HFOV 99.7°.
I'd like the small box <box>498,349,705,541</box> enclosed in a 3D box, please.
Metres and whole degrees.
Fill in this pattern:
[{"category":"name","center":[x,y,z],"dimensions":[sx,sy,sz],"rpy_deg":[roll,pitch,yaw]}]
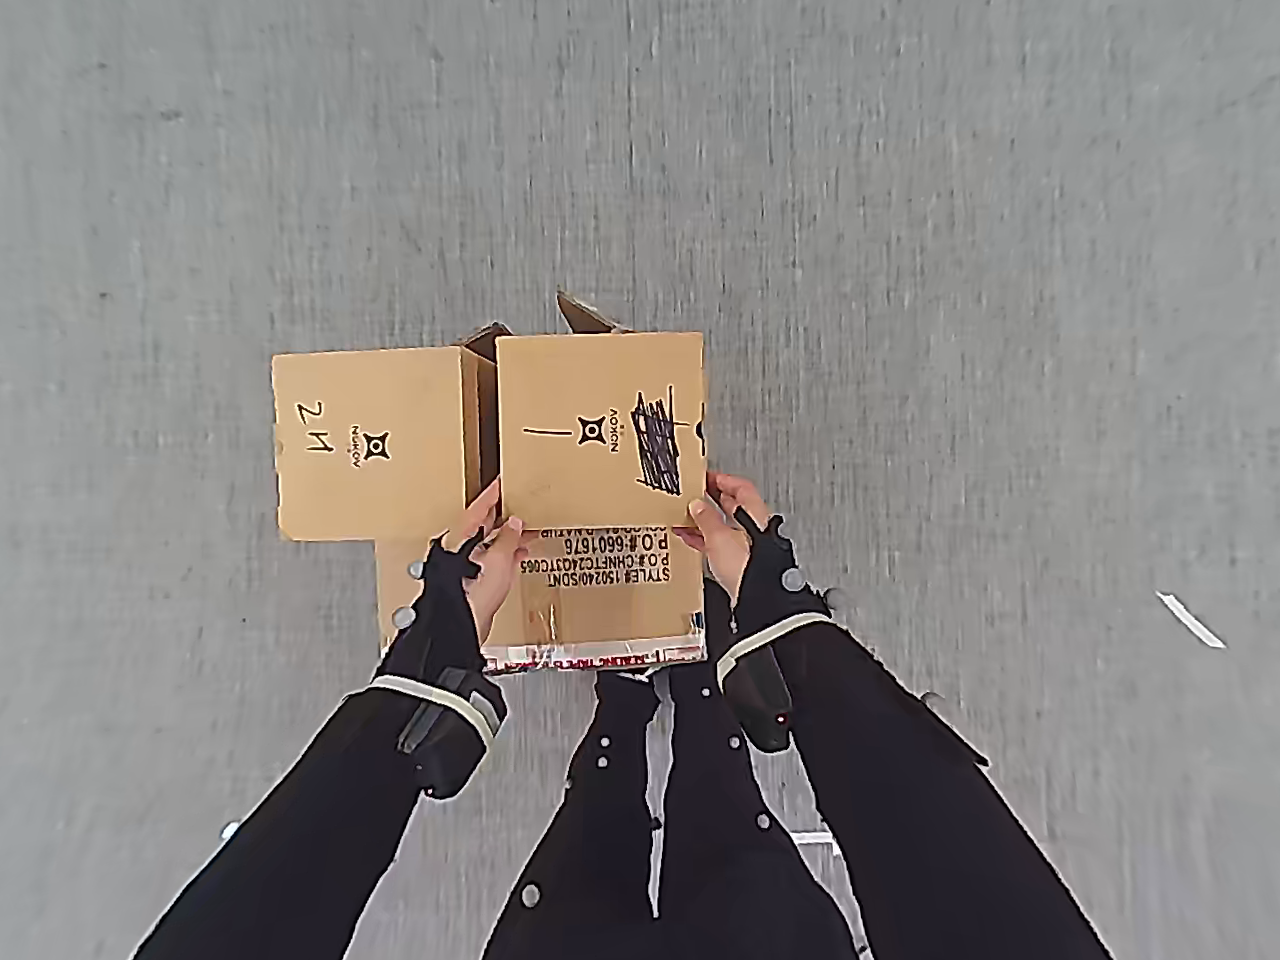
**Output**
[{"category":"small box","center":[-0.033,-0.033,0.543],"dimensions":[0.179,0.176,0.168],"rpy_deg":[-2,91,1]}]

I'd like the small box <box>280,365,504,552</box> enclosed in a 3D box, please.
[{"category":"small box","center":[-0.226,-0.020,0.555],"dimensions":[0.179,0.176,0.168],"rpy_deg":[-2,90,6]}]
